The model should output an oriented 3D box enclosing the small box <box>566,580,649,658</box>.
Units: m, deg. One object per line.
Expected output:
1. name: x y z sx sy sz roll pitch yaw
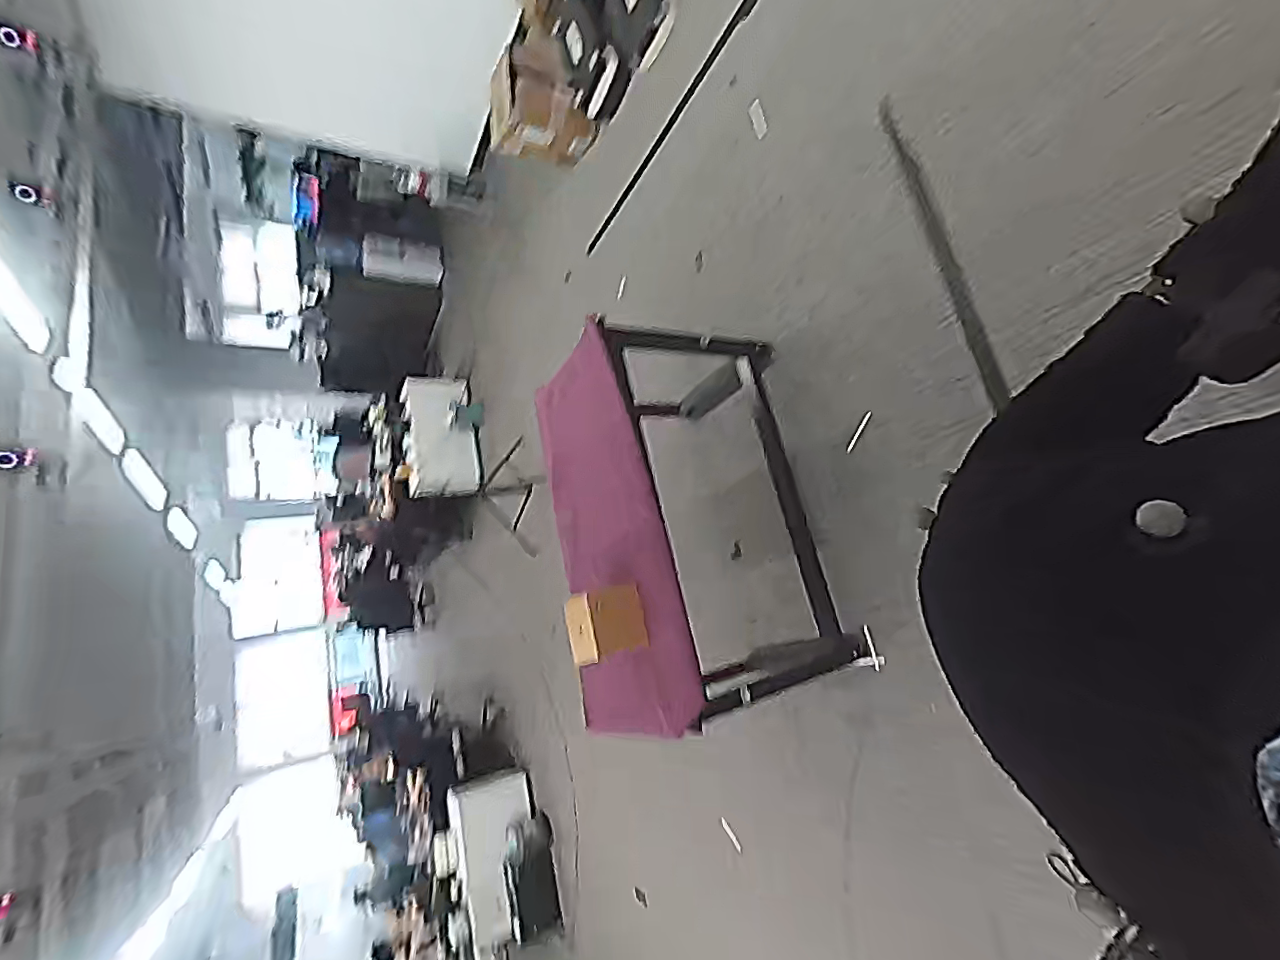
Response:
1. small box: -0.093 0.399 1.559 0.168 0.176 0.179 -37 62 53
